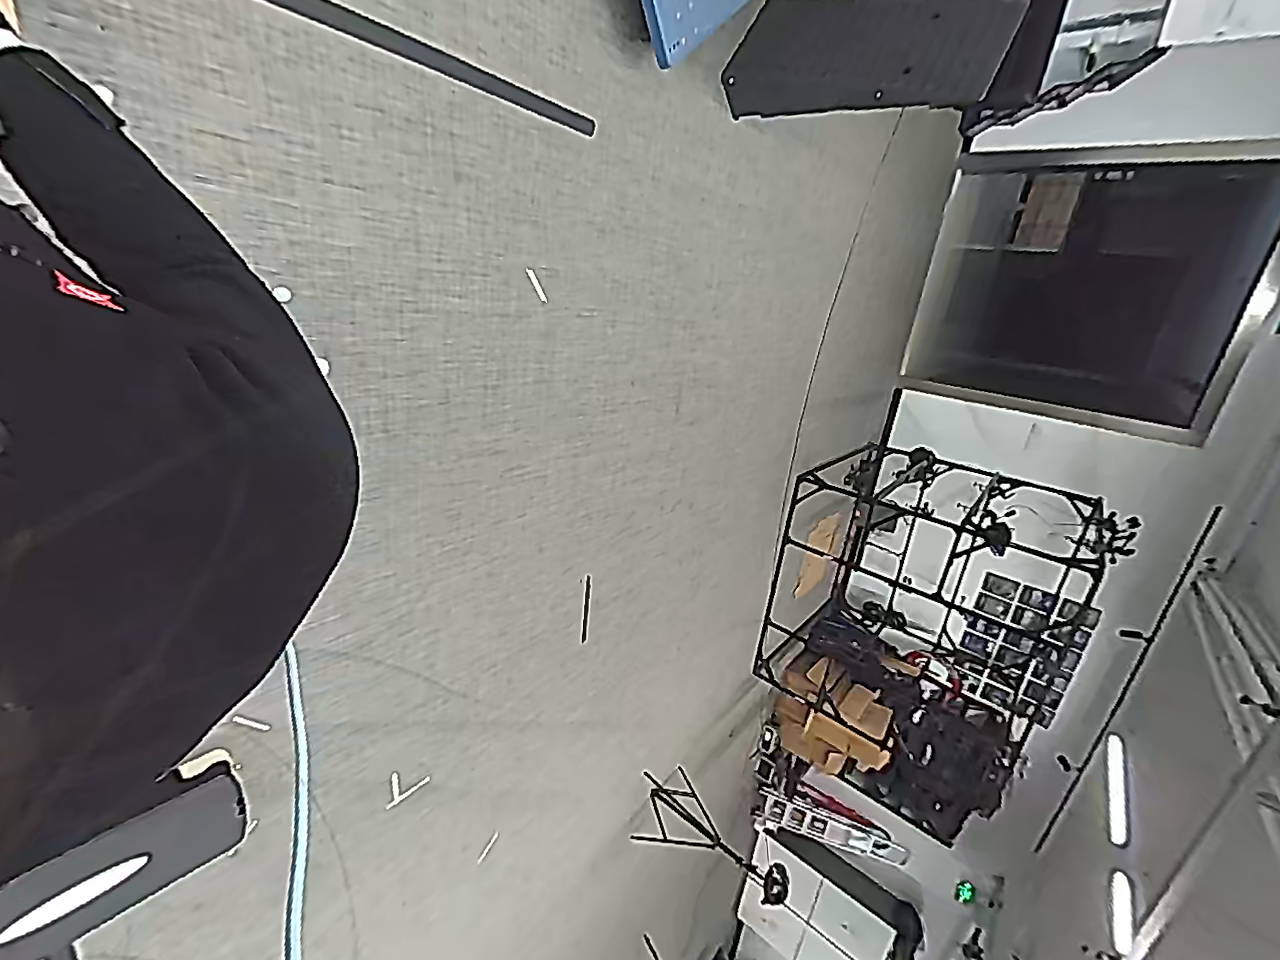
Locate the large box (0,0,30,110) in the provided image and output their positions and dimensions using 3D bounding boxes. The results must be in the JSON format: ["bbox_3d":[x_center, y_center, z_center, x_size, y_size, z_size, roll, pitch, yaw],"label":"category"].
[{"bbox_3d":[-1.062,-0.663,0.620,0.408,0.320,0.320,-20,124,-50],"label":"large box"}]
